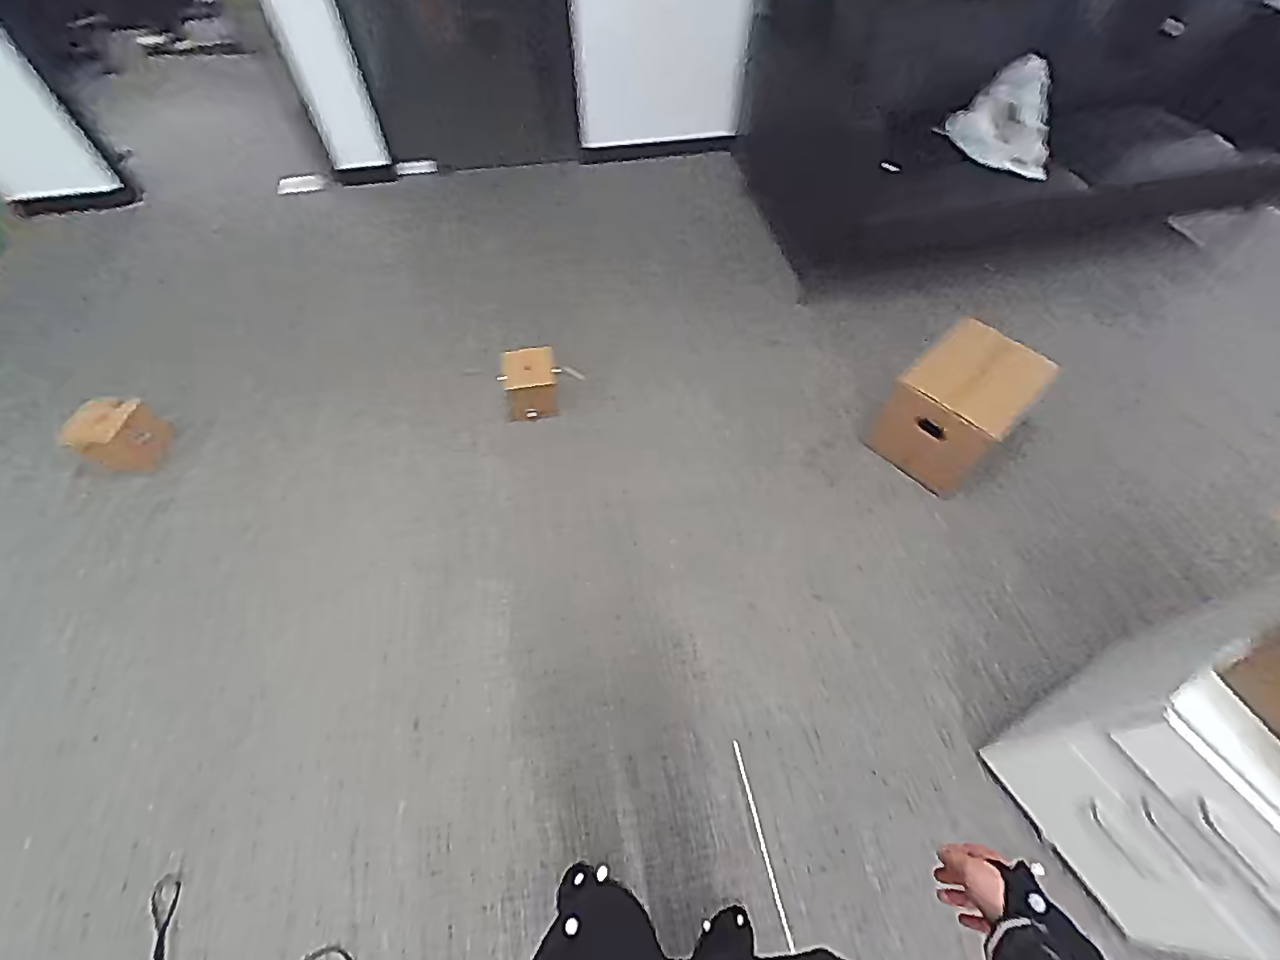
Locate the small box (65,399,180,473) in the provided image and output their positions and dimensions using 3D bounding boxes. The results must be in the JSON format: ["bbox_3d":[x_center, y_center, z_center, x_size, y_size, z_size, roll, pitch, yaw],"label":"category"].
[{"bbox_3d":[-1.621,-0.135,1.709,0.168,0.176,0.179,2,56,0],"label":"small box"}]

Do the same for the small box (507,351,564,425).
[{"bbox_3d":[-0.359,-0.316,1.864,0.168,0.176,0.179,-9,58,-6],"label":"small box"}]
